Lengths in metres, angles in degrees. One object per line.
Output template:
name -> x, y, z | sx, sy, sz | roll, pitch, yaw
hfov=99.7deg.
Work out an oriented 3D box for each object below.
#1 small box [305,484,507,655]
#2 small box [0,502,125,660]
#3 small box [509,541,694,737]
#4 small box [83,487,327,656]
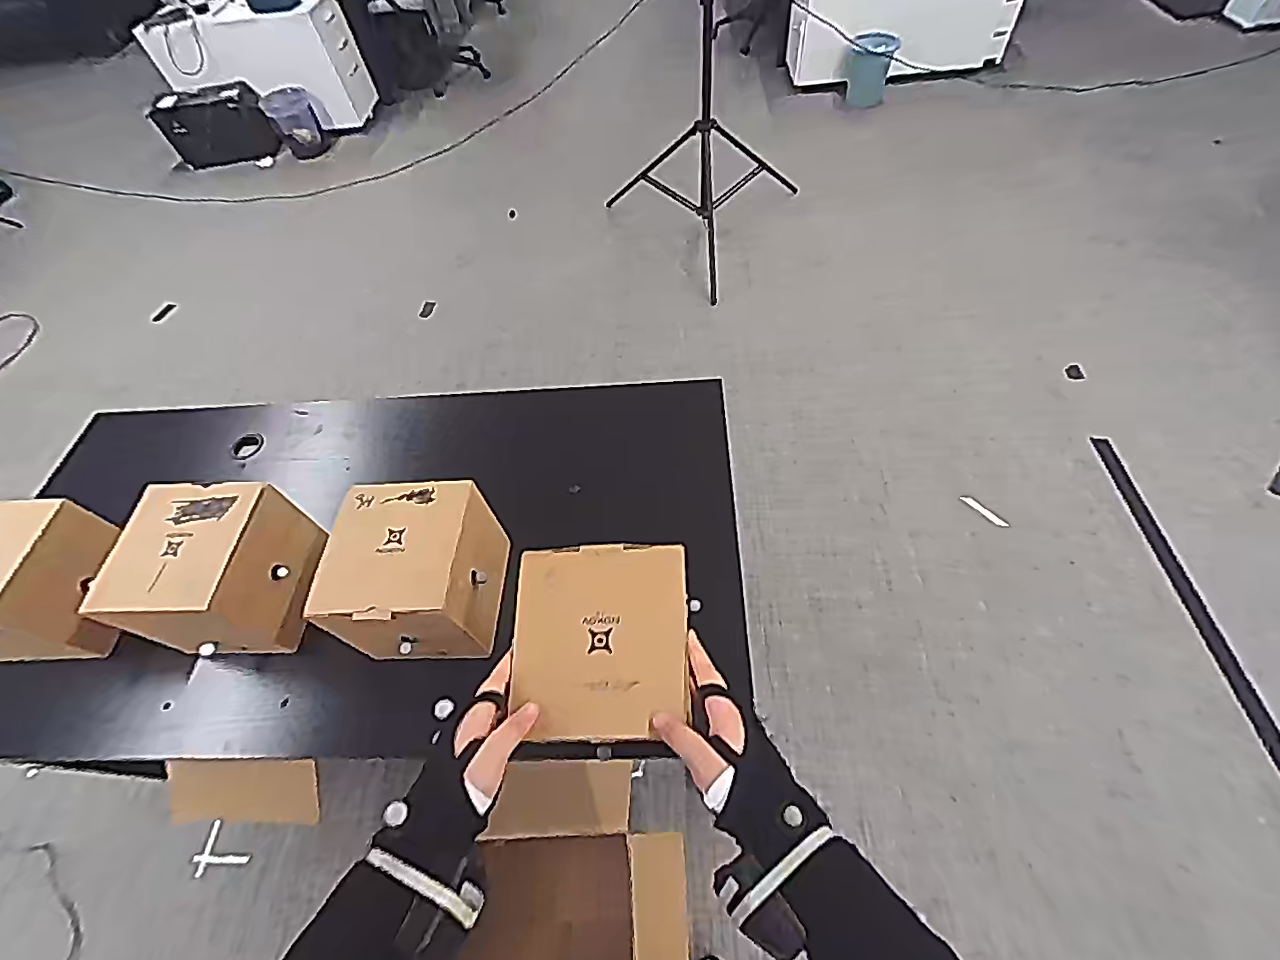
small box -> -0.286, 0.124, 0.708 | 0.168, 0.176, 0.179 | -2, 56, 5
small box -> -0.845, 0.145, 0.751 | 0.179, 0.176, 0.168 | -3, 55, 4
small box -> -0.031, 0.178, 0.583 | 0.168, 0.176, 0.179 | -3, 64, 4
small box -> -0.560, 0.127, 0.735 | 0.168, 0.176, 0.179 | -2, 56, 5
